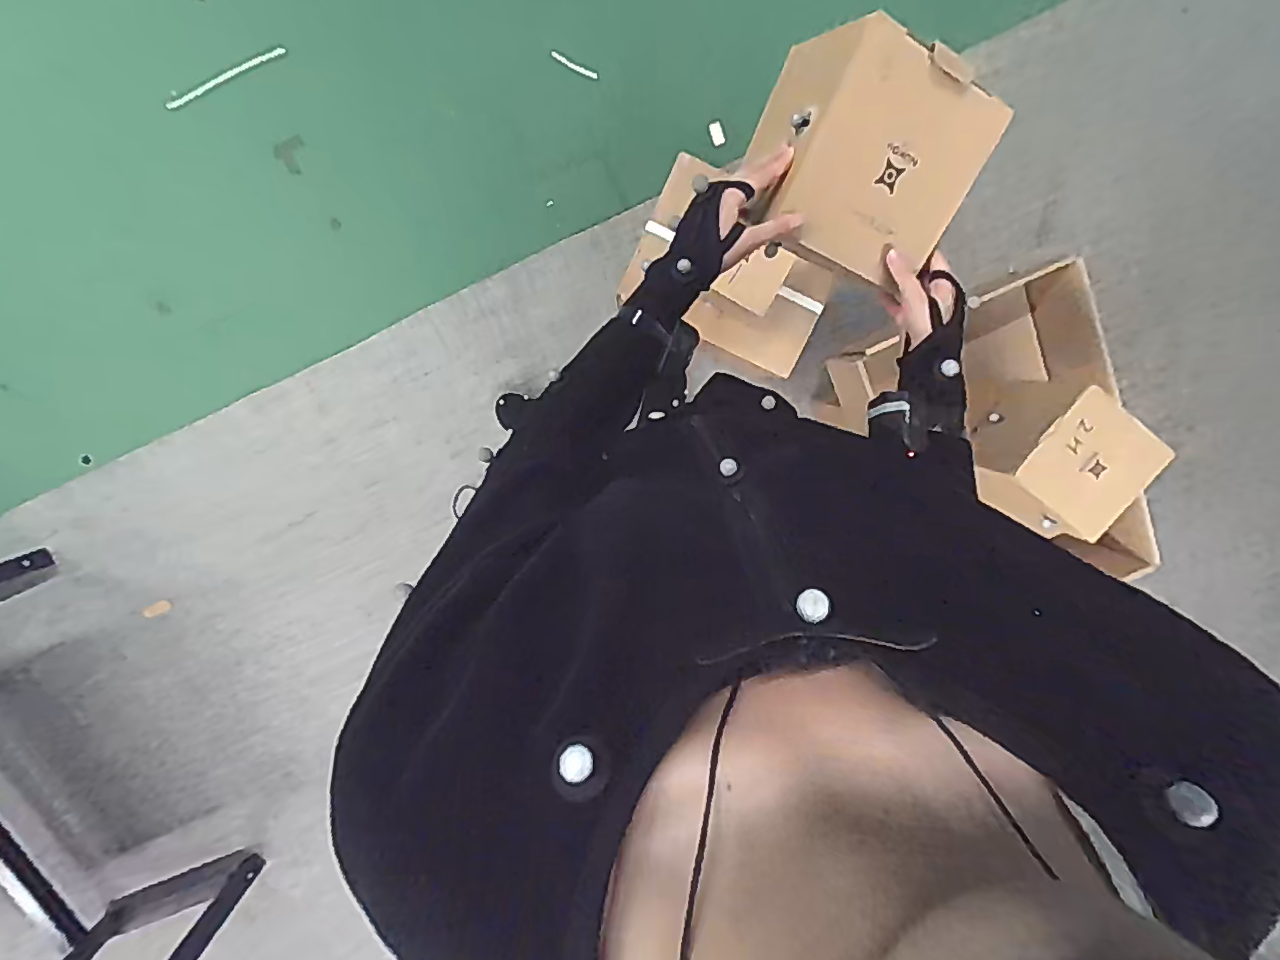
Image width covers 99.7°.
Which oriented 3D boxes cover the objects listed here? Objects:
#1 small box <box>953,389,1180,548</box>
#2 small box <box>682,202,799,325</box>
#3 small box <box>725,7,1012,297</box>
[{"bbox_3d":[0.639,-0.029,0.834,0.179,0.176,0.168,36,98,-7],"label":"small box"},{"bbox_3d":[0.190,-0.411,1.019,0.168,0.176,0.179,28,100,-6],"label":"small box"},{"bbox_3d":[0.208,-0.315,0.548,0.168,0.176,0.179,17,115,-20],"label":"small box"}]
